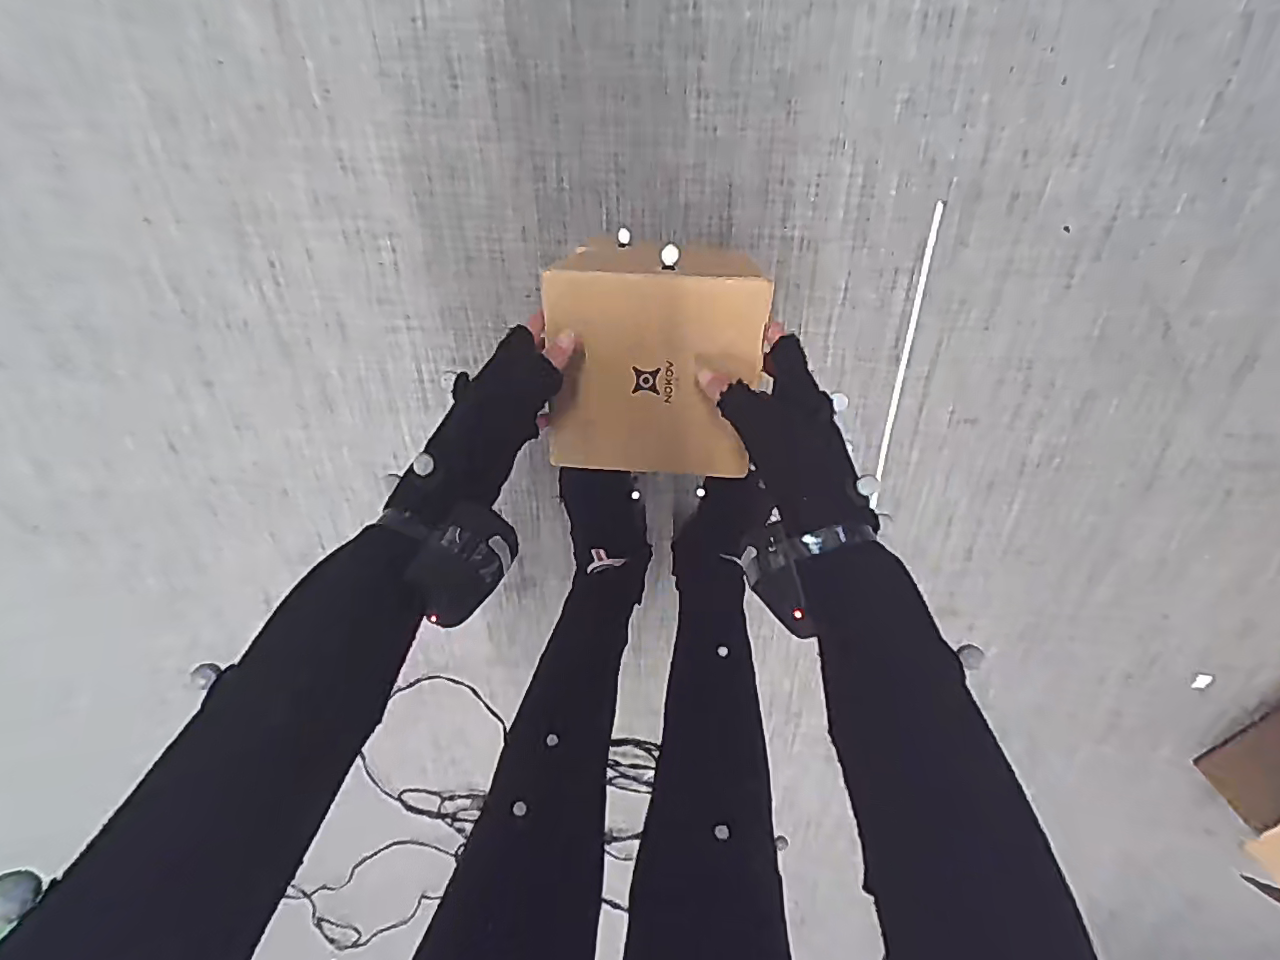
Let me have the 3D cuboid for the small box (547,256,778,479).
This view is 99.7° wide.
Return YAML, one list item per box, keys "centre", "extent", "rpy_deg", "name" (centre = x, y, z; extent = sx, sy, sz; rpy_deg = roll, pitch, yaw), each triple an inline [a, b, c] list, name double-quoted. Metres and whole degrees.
- centre: [0.019, -0.115, 0.509]
  extent: [0.179, 0.176, 0.168]
  rpy_deg: [3, 117, 3]
  name: "small box"

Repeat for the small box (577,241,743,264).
- centre: [0.022, -0.189, 0.653]
  extent: [0.179, 0.176, 0.168]
  rpy_deg: [7, 118, 2]
  name: "small box"
